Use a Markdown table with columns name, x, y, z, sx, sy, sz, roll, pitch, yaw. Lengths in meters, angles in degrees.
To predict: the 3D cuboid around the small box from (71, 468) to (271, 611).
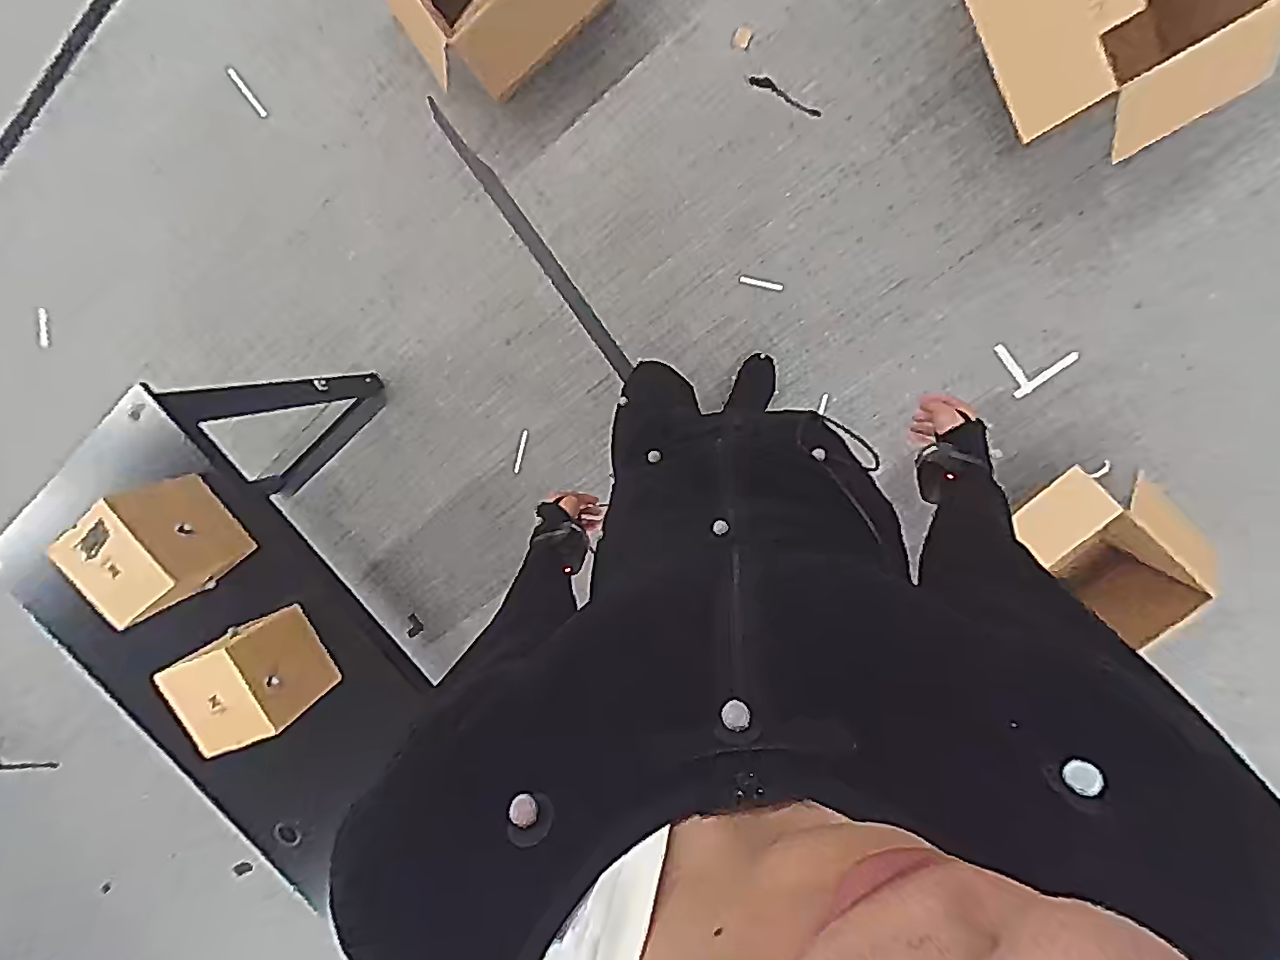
| name | x | y | z | sx | sy | sz | roll | pitch | yaw |
| --- | --- | --- | --- | --- | --- | --- | --- | --- | --- |
| small box | -0.828 | 0.094 | 0.972 | 0.168 | 0.176 | 0.179 | -33 | 99 | 16 |

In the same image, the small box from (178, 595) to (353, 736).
| name | x | y | z | sx | sy | sz | roll | pitch | yaw |
| --- | --- | --- | --- | --- | --- | --- | --- | --- | --- |
| small box | -0.691 | 0.336 | 1.018 | 0.168 | 0.176 | 0.179 | -22 | 101 | 14 |
